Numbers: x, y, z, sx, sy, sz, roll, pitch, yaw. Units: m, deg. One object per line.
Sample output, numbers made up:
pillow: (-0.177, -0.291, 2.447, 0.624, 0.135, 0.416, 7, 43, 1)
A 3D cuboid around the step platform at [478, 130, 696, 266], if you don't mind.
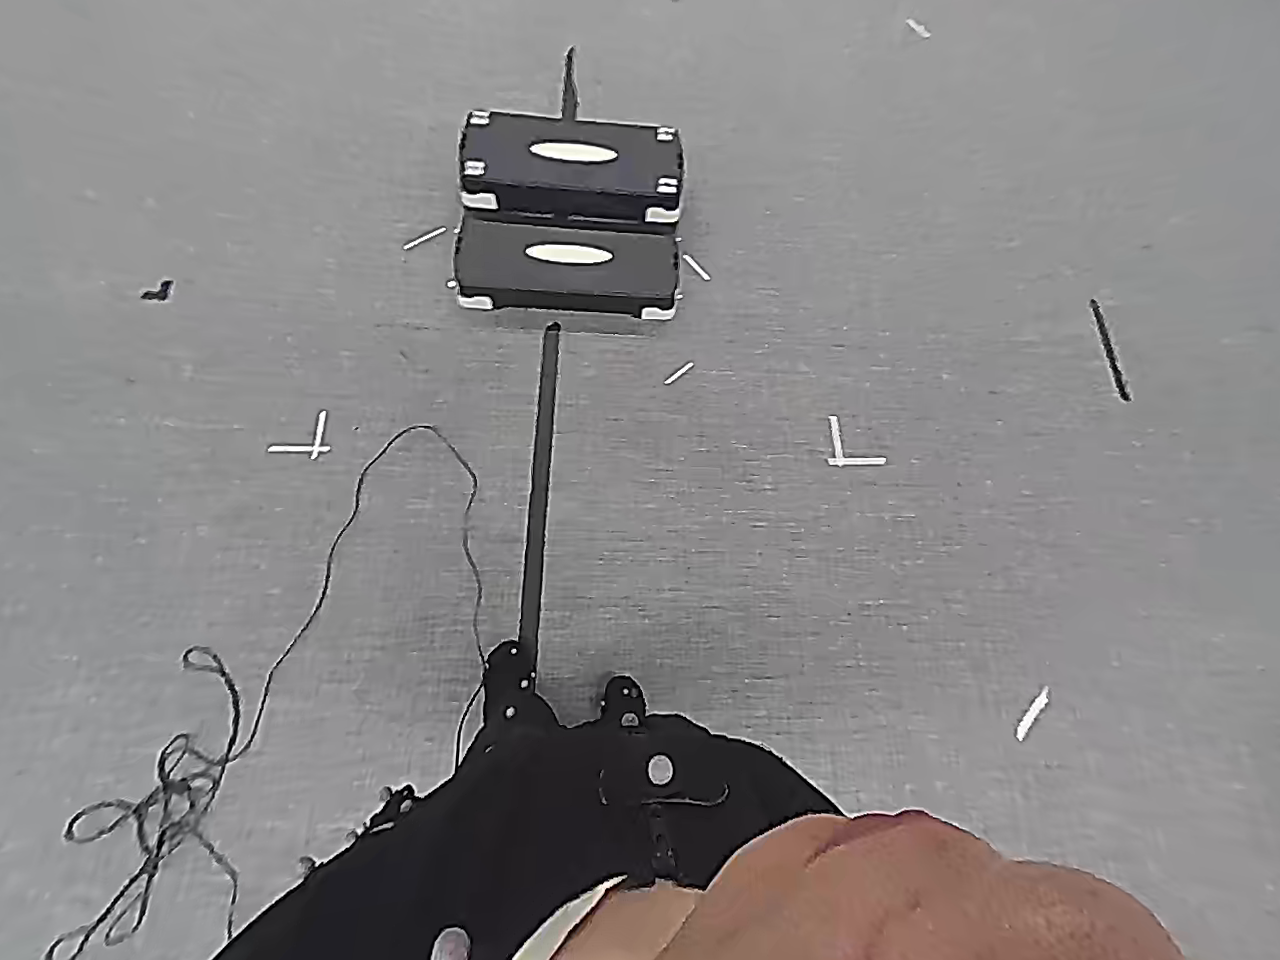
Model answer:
step platform: (-0.162, -0.899, 1.730, 0.684, 0.204, 0.286, 7, 70, -4)
